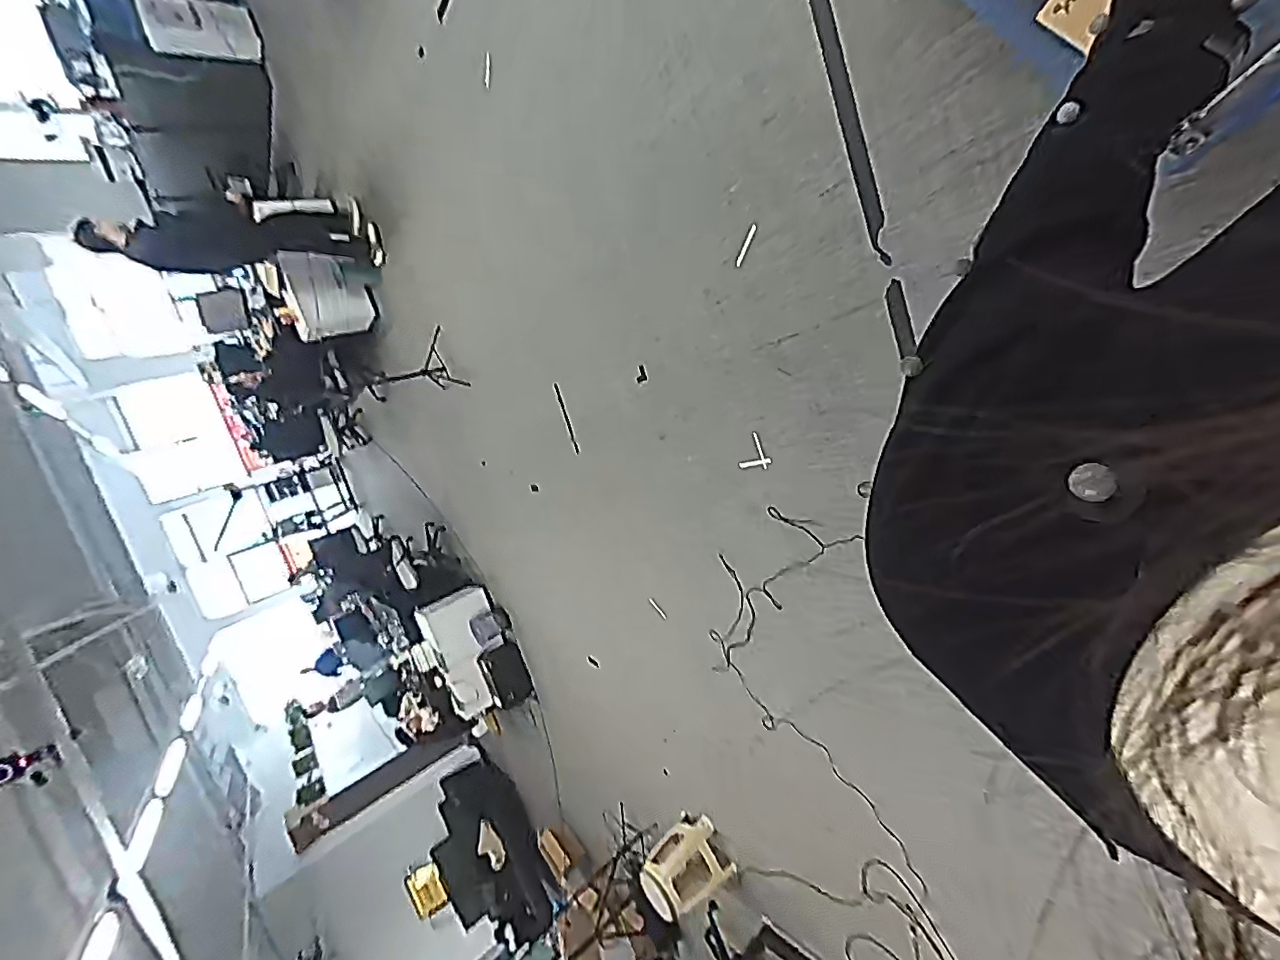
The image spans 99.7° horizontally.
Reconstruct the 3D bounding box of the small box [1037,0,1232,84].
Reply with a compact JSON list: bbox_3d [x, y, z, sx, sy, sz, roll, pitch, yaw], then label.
[{"bbox_3d":[0.744,-0.715,0.792,0.179,0.176,0.168,53,141,16],"label":"small box"}]
